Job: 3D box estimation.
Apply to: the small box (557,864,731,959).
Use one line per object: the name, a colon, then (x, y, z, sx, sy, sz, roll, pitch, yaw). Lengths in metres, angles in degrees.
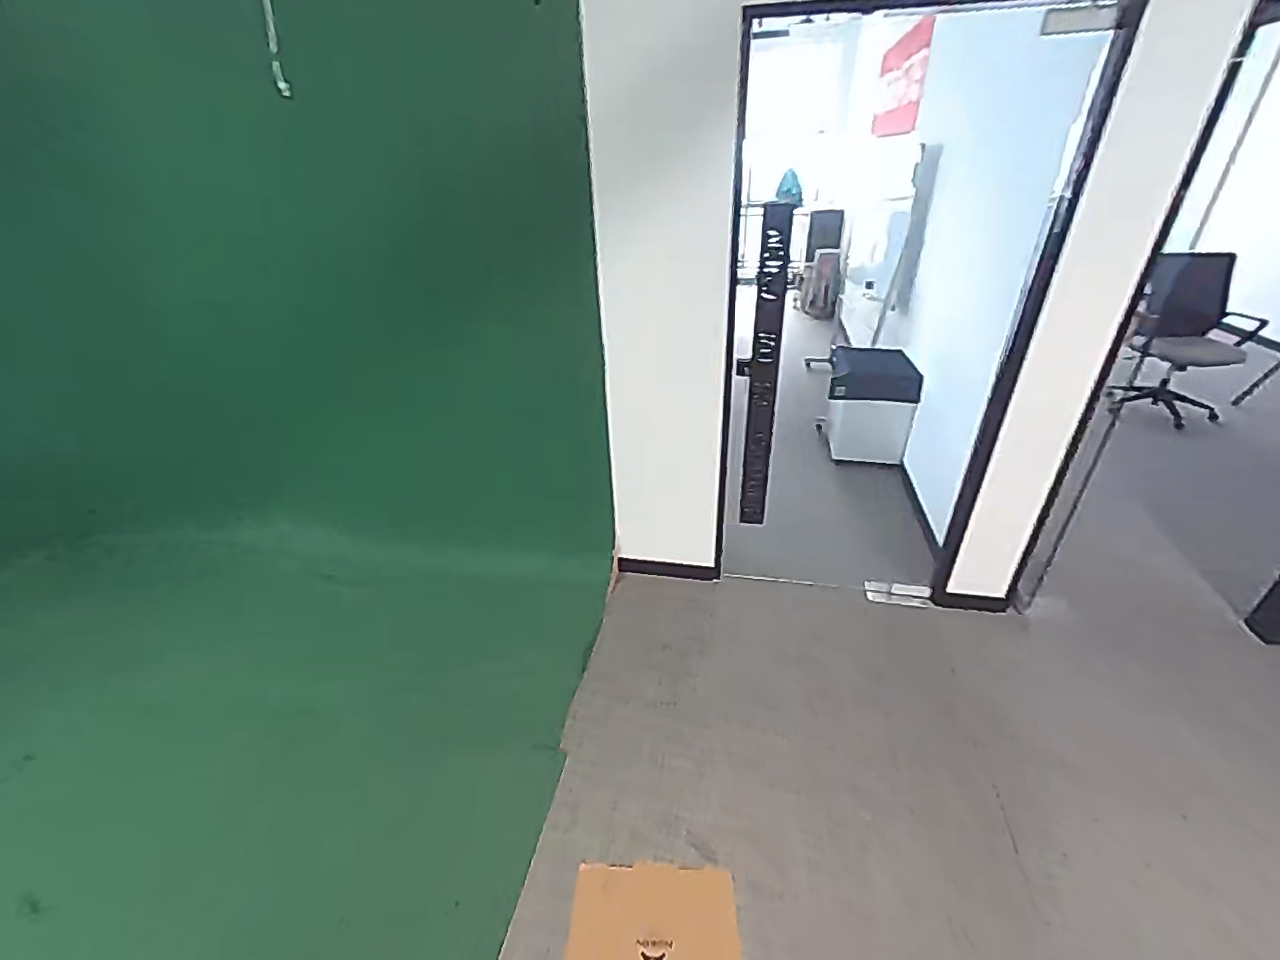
small box: (0.002, 0.524, 0.529, 0.168, 0.176, 0.179, 1, 21, 3)
